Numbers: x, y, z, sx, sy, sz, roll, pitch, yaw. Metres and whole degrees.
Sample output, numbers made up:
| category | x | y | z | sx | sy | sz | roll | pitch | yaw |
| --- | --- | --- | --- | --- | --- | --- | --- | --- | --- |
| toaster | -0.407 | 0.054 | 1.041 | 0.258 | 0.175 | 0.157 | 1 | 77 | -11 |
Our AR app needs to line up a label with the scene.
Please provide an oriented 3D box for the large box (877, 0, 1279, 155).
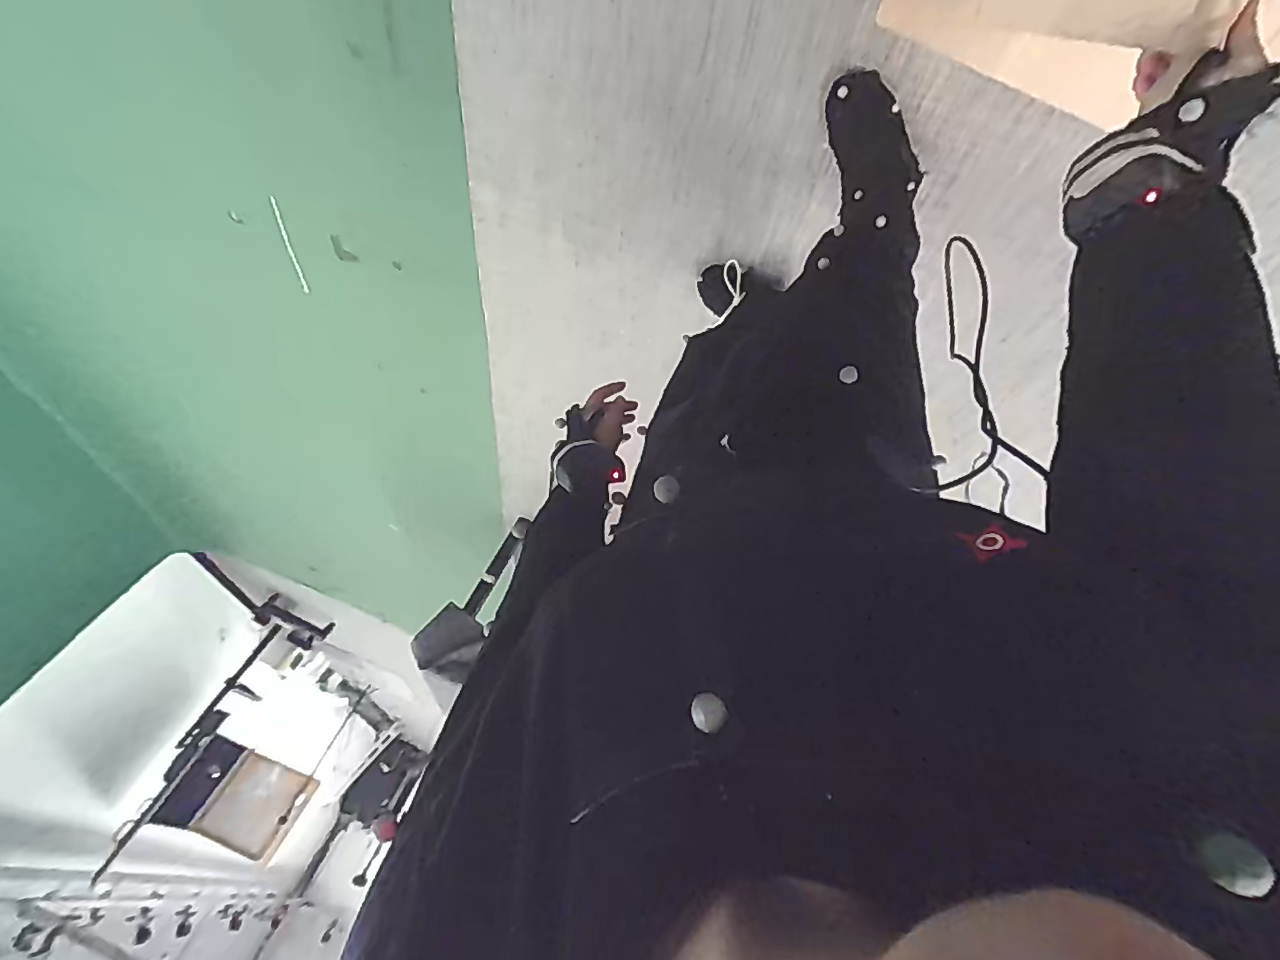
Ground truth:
| category | x | y | z | sx | sy | sz | roll | pitch | yaw |
| --- | --- | --- | --- | --- | --- | --- | --- | --- | --- |
| large box | 0.534 | -0.642 | 0.600 | 0.408 | 0.320 | 0.320 | 24 | 142 | 0 |
